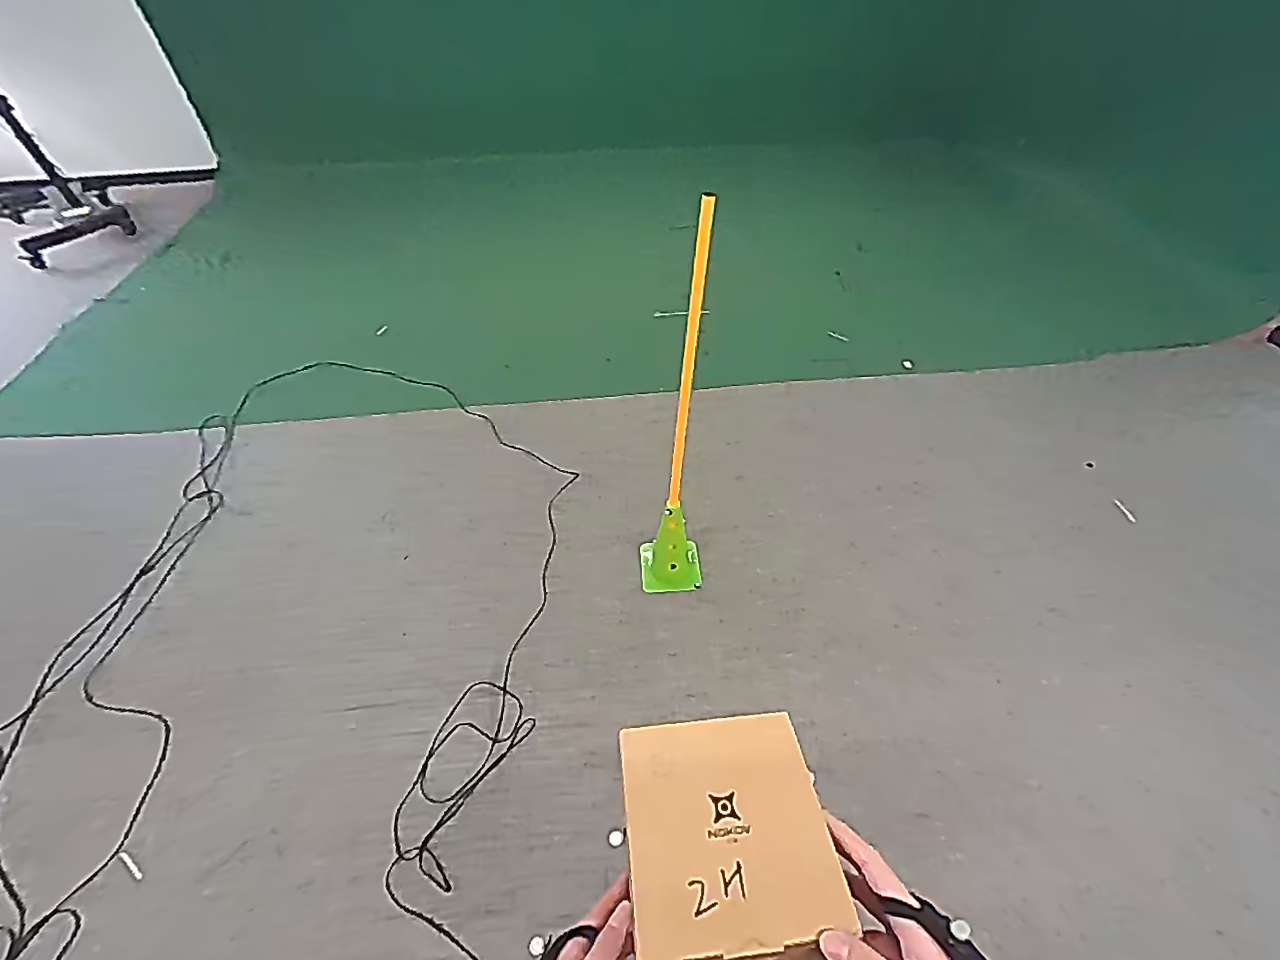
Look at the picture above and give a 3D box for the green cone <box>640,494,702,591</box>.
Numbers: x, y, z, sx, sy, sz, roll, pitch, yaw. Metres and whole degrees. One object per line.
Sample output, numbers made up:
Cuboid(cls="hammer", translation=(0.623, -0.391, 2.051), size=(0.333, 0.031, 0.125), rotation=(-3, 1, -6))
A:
Cuboid(cls="green cone", translation=(0.098, 0.172, 1.733), size=(0.202, 0.368, 0.200), rotation=(-4, 48, -1))
